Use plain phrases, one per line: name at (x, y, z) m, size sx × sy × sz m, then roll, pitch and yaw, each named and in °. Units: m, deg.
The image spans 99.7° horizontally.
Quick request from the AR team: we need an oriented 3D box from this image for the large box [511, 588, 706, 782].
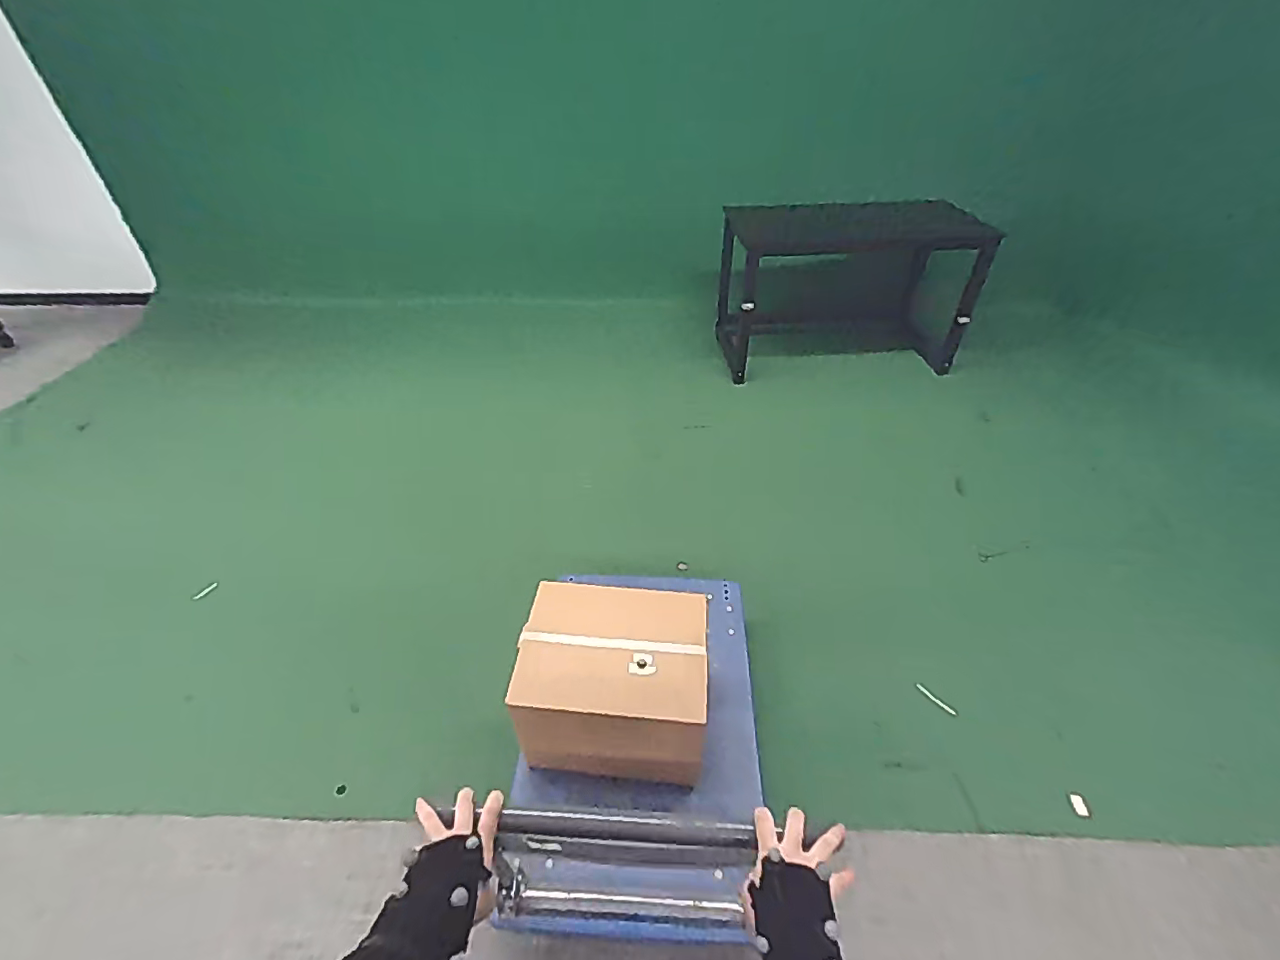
large box at (-0.060, 0.487, 1.292) m, size 0.408 × 0.320 × 0.320 m, roll 4°, pitch 41°, yaw 3°
